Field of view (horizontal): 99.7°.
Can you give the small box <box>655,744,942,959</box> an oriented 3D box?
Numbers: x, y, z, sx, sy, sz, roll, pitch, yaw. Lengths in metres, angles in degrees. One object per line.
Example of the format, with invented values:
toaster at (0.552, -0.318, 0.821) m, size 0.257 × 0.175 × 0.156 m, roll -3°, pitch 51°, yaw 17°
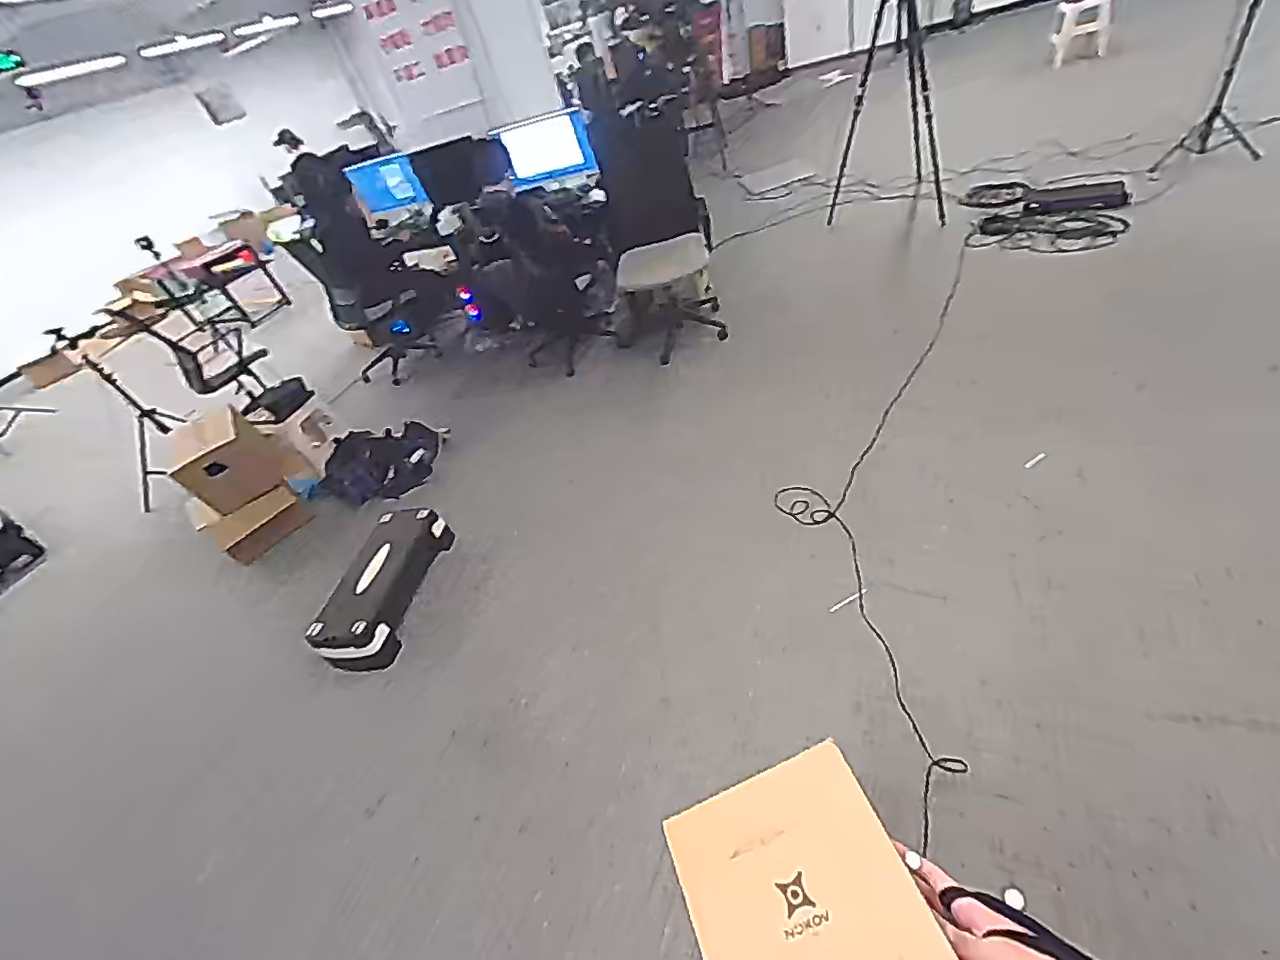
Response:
small box at (0.138, 0.361, 0.456) m, size 0.168 × 0.176 × 0.179 m, roll -28°, pitch 44°, yaw 3°
